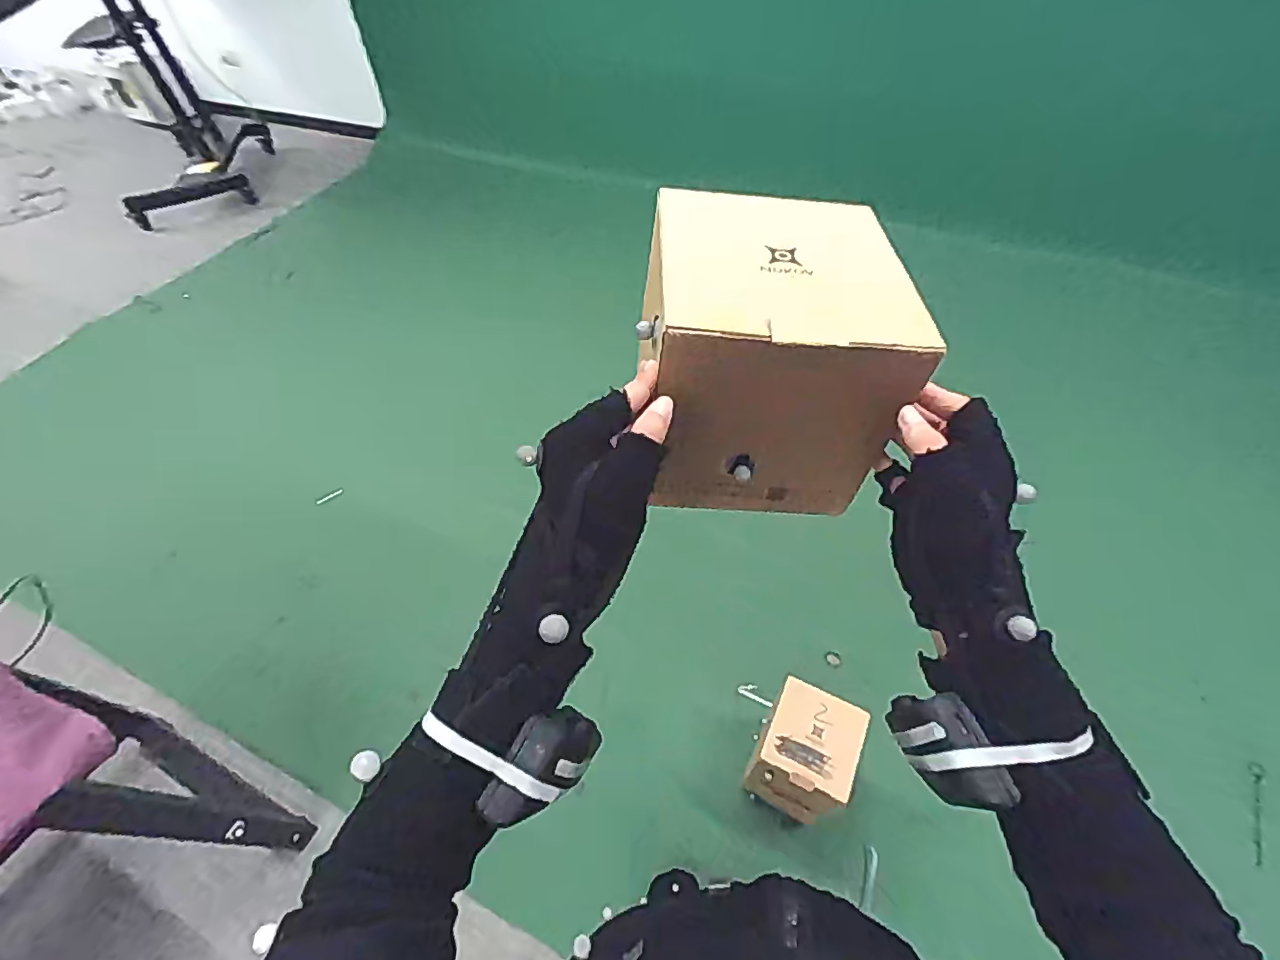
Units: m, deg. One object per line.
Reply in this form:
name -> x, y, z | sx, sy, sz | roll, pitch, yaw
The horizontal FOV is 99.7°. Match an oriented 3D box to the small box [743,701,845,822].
small box -> 0.340, 0.640, 1.220 | 0.168, 0.176, 0.179 | 22, 56, 18
